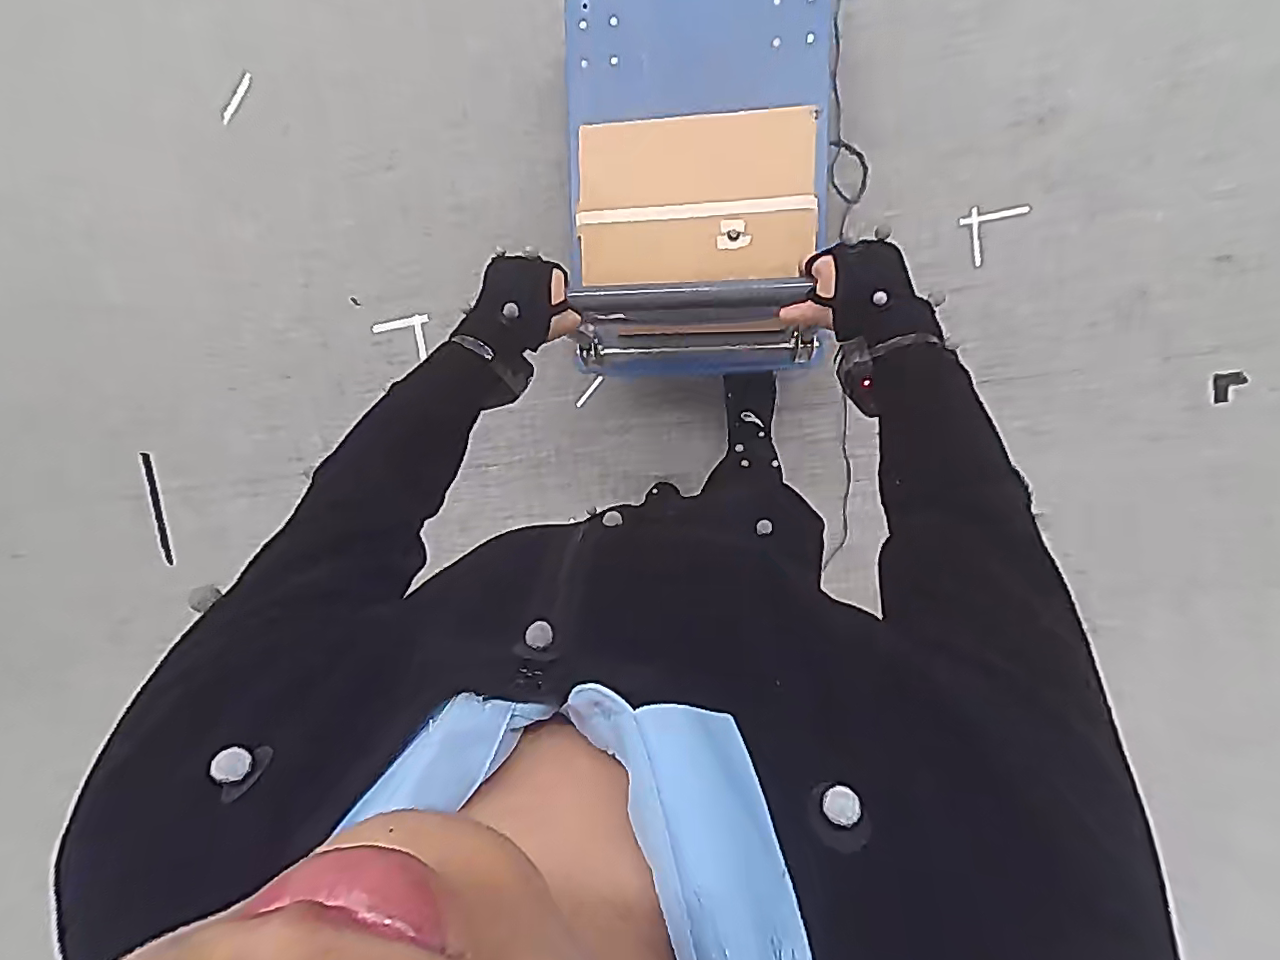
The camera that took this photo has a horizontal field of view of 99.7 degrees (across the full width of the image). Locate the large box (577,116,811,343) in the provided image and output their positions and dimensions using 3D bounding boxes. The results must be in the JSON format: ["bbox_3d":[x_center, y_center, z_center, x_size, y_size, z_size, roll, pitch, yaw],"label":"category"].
[{"bbox_3d":[0.107,-0.461,1.078,0.408,0.320,0.320,0,96,7],"label":"large box"}]
